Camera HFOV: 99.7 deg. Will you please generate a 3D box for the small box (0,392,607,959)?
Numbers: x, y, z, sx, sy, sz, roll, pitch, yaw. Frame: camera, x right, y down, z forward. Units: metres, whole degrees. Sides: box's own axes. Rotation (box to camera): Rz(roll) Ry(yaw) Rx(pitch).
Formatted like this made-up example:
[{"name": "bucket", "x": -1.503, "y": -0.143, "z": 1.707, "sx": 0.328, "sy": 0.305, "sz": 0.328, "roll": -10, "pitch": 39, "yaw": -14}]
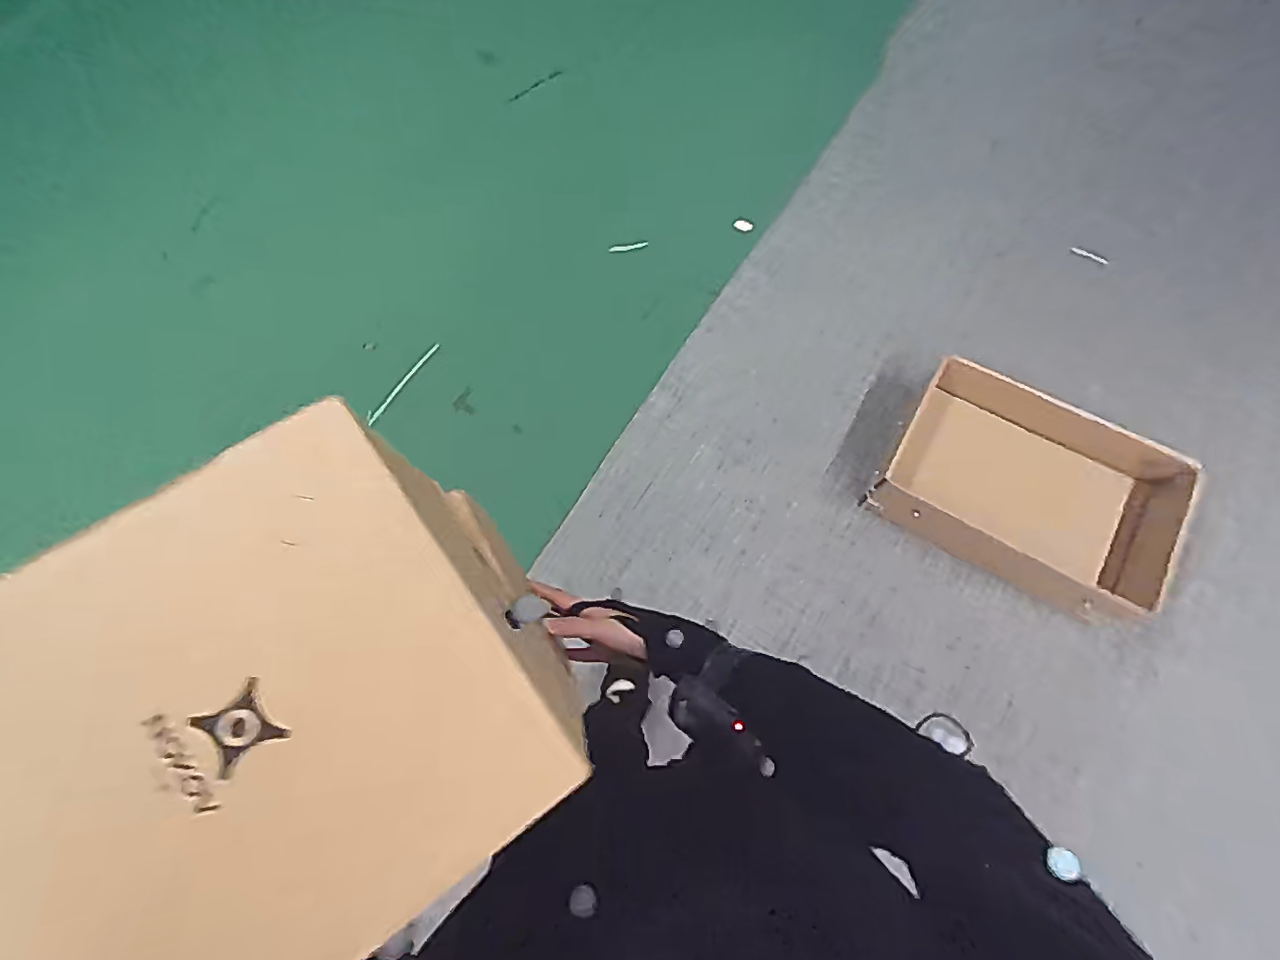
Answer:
[{"name": "small box", "x": -0.137, "y": 0.090, "z": 0.262, "sx": 0.179, "sy": 0.176, "sz": 0.168, "roll": -34, "pitch": 85, "yaw": -12}]
